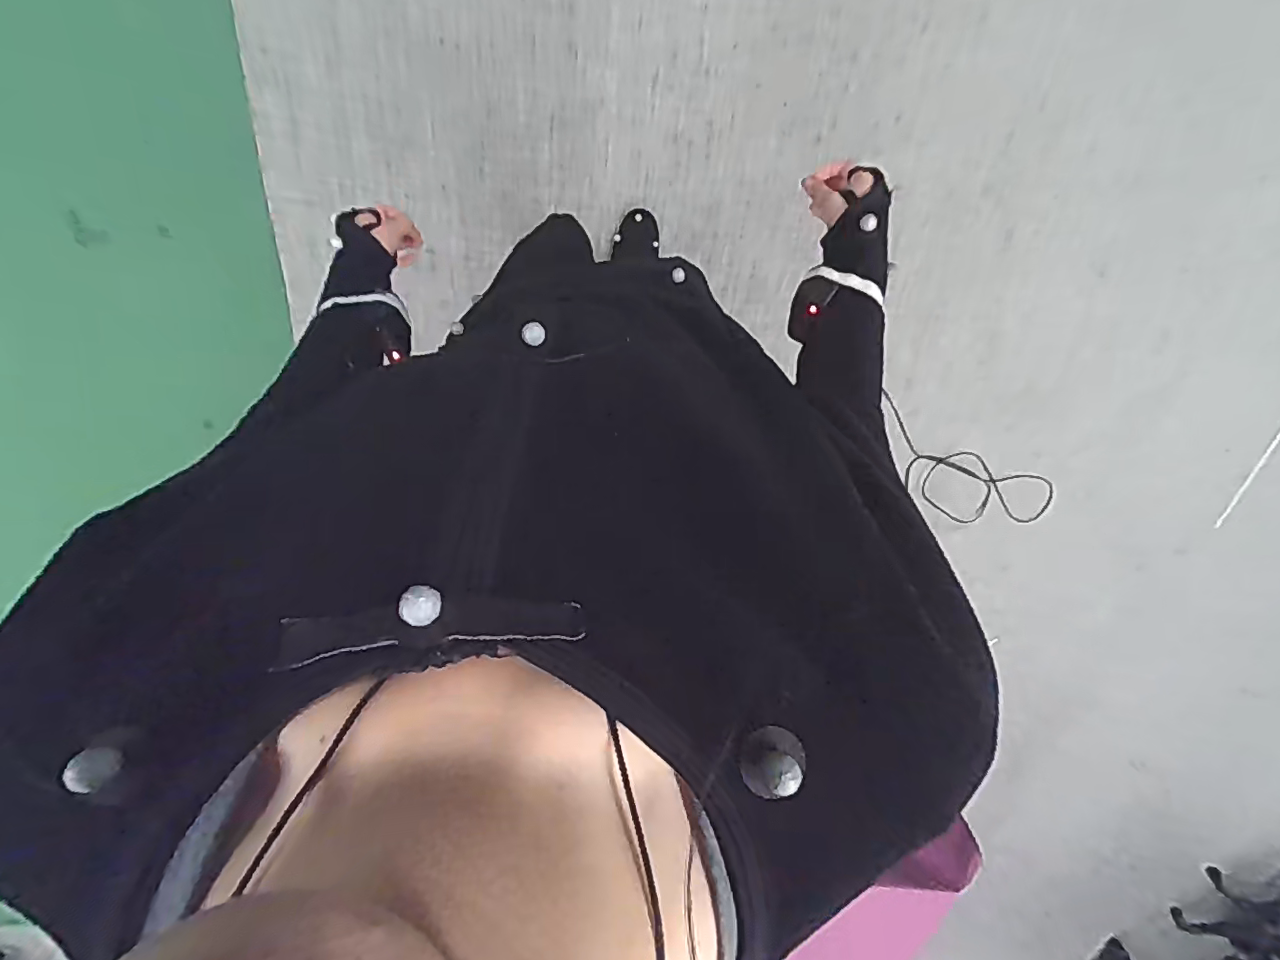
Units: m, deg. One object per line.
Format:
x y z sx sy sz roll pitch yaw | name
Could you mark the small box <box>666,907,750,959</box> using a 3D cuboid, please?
0.161 1.146 1.276 0.179 0.176 0.168 8 117 -3 | small box
